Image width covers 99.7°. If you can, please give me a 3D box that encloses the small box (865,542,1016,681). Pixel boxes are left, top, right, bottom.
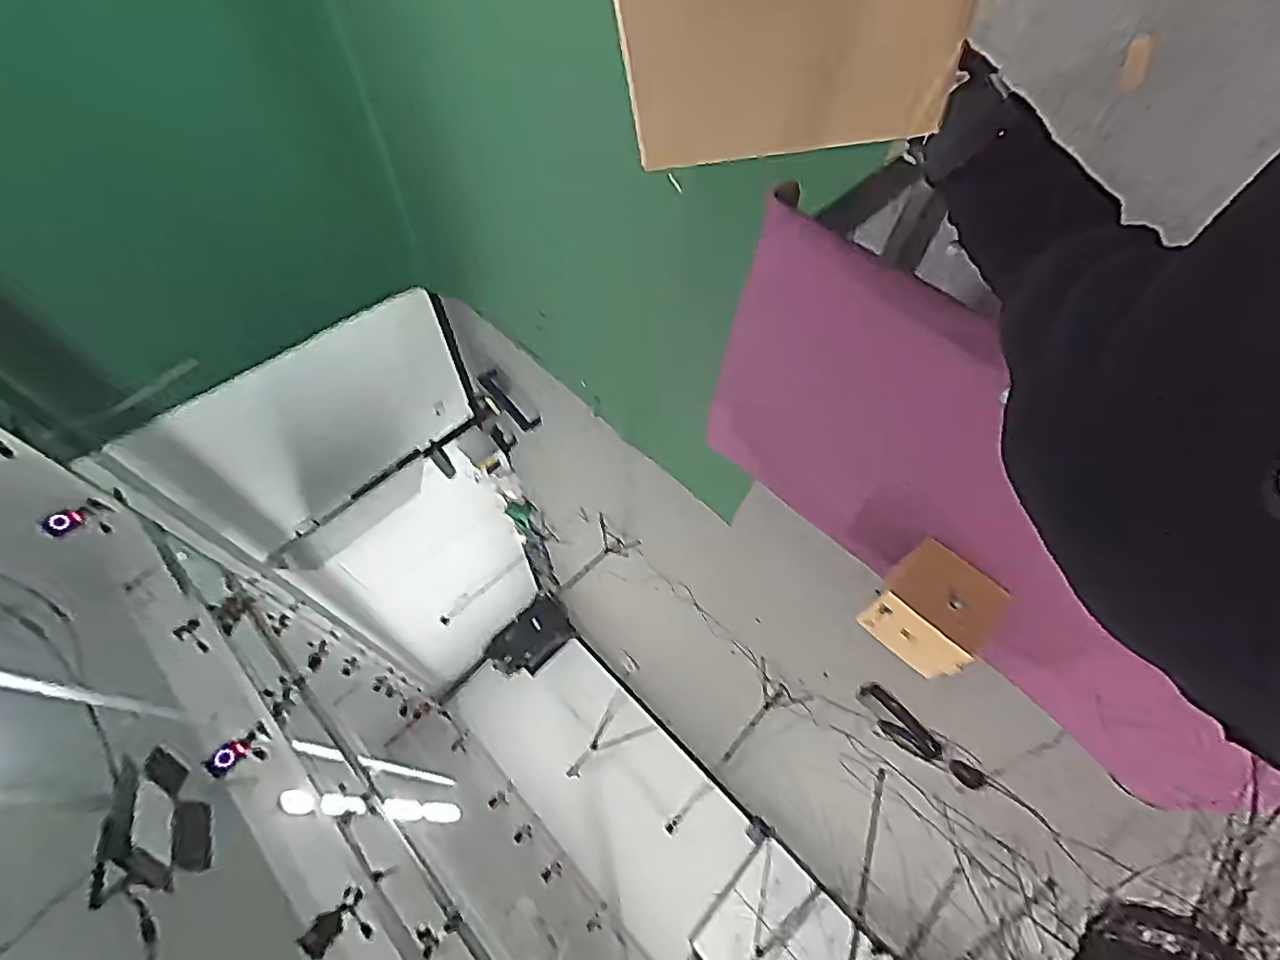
[{"bbox_3d":[0.589,0.256,1.063,0.179,0.176,0.168,39,152,20],"label":"small box"}]

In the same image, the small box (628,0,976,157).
[{"bbox_3d":[0.077,-0.304,0.269,0.168,0.179,0.176,-2,151,11],"label":"small box"}]
